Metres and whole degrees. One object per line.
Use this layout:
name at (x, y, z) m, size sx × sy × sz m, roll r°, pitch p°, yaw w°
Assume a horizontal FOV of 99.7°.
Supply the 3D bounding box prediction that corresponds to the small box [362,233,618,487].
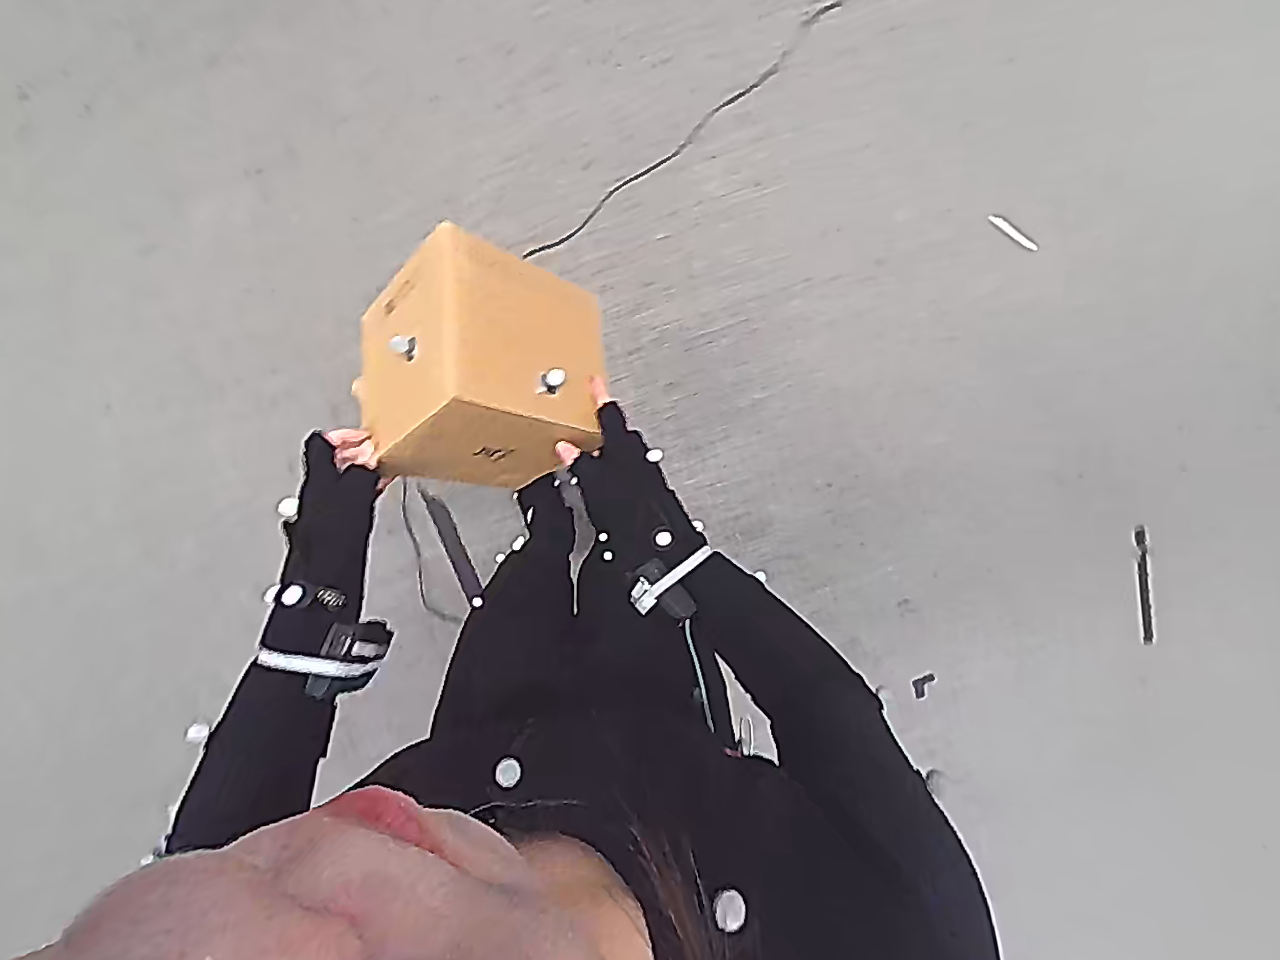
small box at (-0.148, -0.103, 0.522) m, size 0.168 × 0.179 × 0.176 m, roll -22°, pitch 70°, yaw 38°
